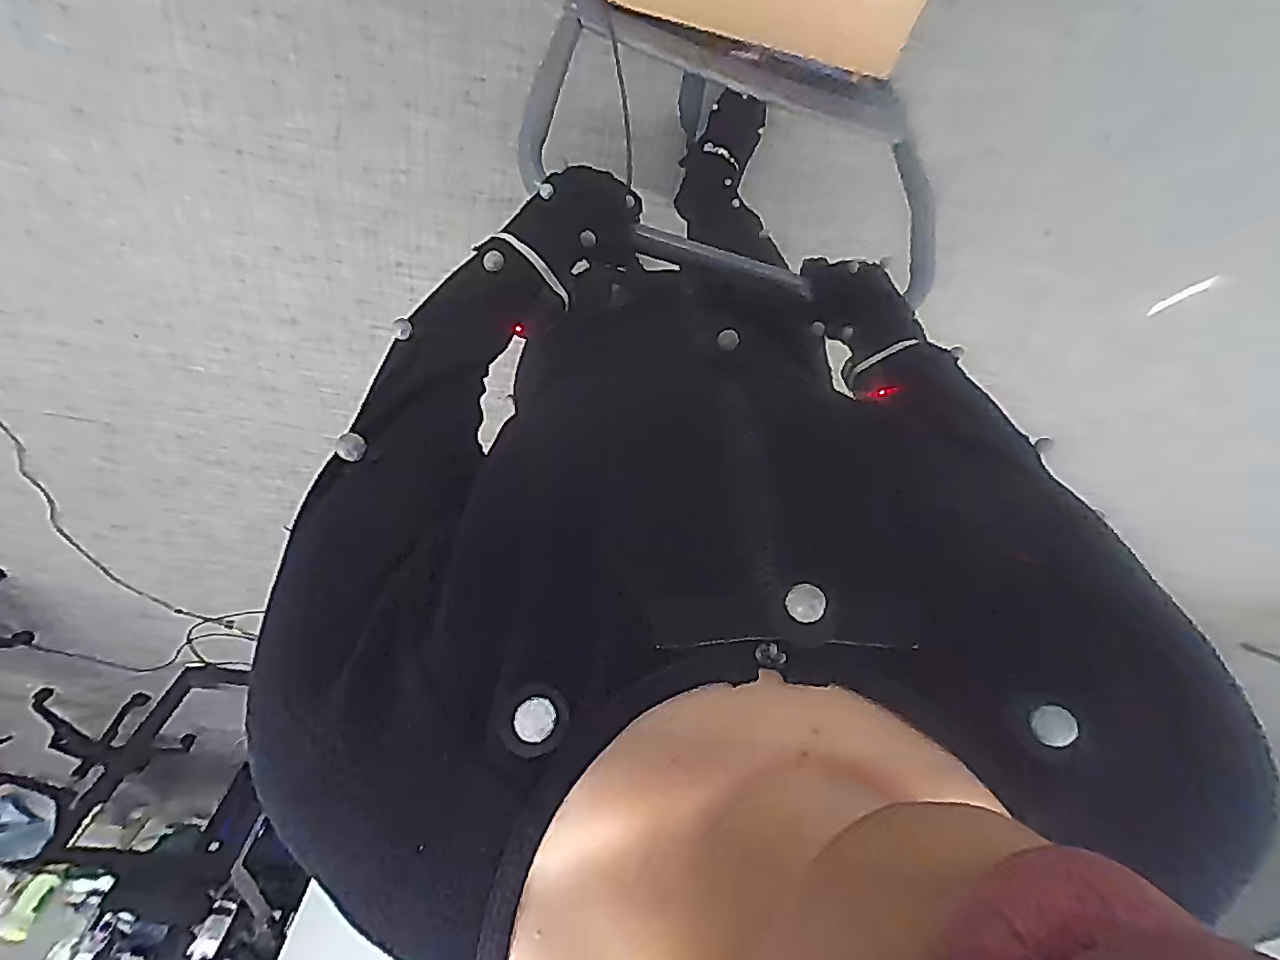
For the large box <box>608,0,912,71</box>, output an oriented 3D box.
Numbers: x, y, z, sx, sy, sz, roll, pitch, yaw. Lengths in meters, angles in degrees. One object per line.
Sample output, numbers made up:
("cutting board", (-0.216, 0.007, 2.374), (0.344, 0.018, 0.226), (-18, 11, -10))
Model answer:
("large box", (0.182, -0.818, 0.714), (0.408, 0.320, 0.320), (9, 145, -7))
